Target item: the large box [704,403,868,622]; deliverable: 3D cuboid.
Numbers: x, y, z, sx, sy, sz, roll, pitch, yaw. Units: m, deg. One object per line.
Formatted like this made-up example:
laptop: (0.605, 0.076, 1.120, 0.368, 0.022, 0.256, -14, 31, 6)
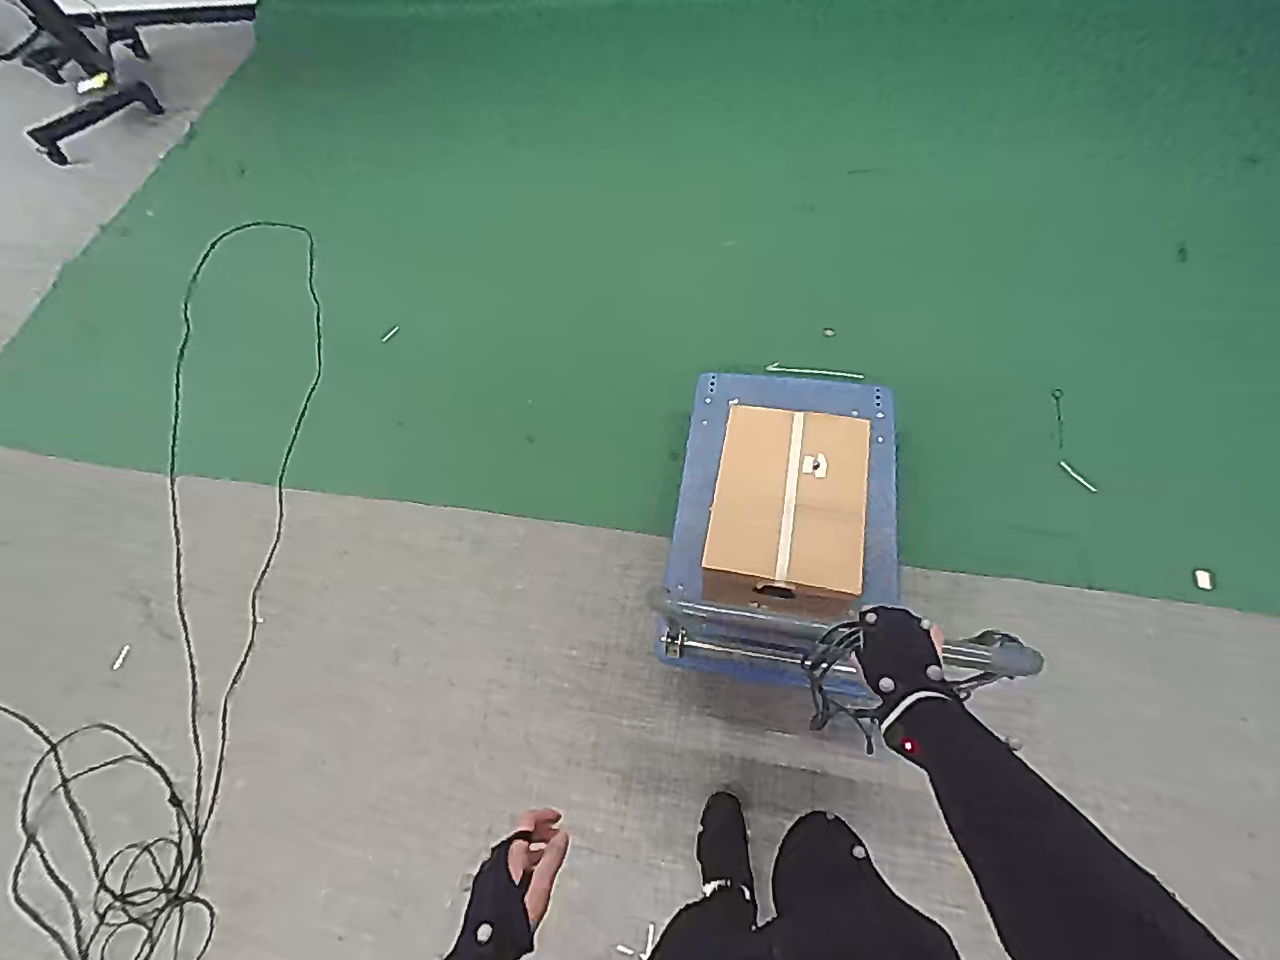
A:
large box: (0.334, 0.084, 1.274, 0.320, 0.320, 0.408, 9, 65, 11)
